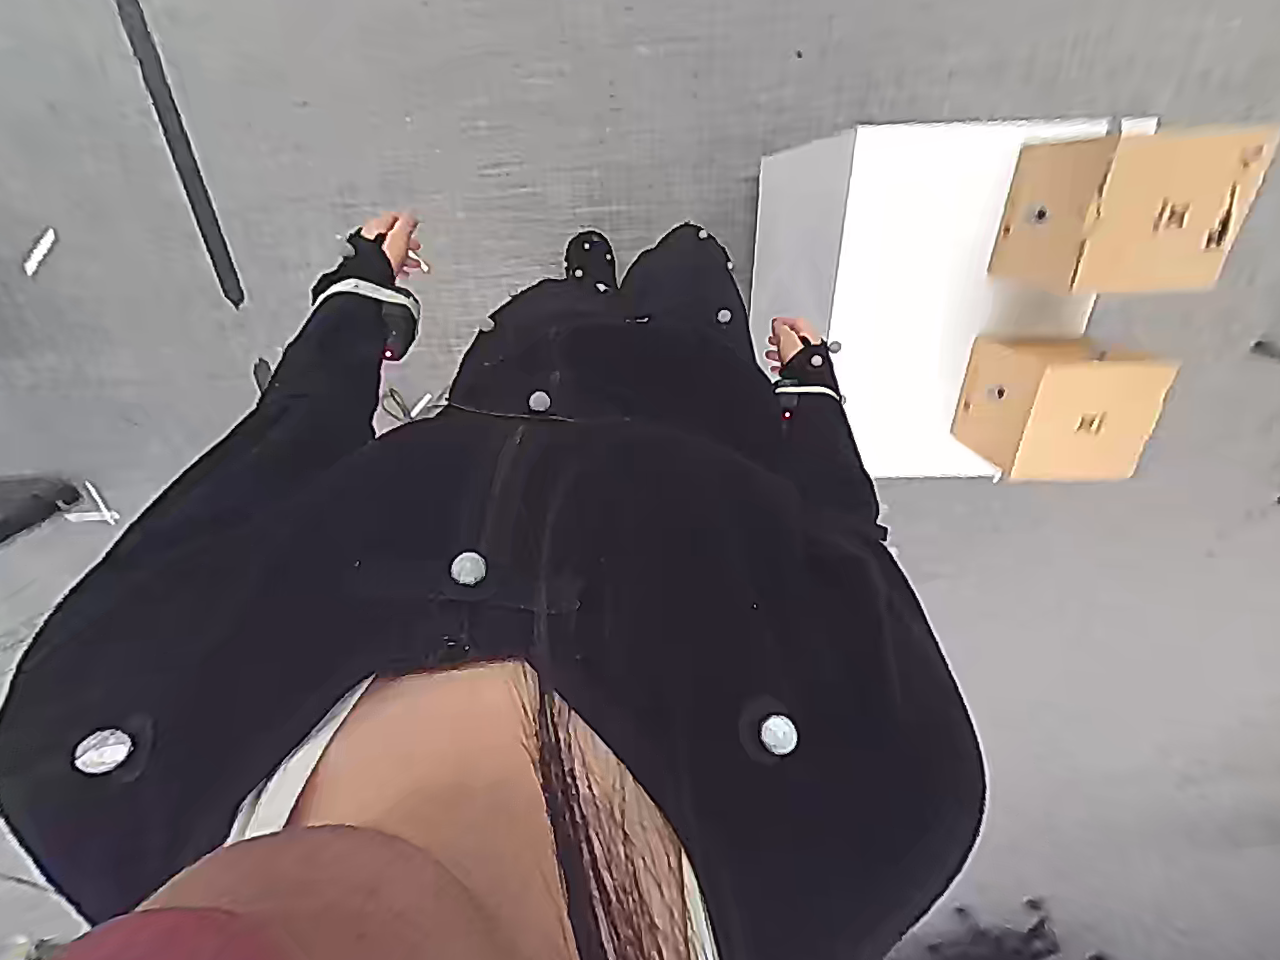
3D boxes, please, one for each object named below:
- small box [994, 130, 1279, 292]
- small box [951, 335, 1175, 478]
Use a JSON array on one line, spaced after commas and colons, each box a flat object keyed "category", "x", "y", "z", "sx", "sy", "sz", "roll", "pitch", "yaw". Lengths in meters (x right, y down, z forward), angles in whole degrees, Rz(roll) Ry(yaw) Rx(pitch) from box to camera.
[{"category": "small box", "x": 0.591, "y": -0.335, "z": 0.679, "sx": 0.179, "sy": 0.176, "sz": 0.168, "roll": 0, "pitch": 119, "yaw": 1}, {"category": "small box", "x": 0.598, "y": -0.113, "z": 0.797, "sx": 0.179, "sy": 0.176, "sz": 0.168, "roll": -1, "pitch": 117, "yaw": -1}]
